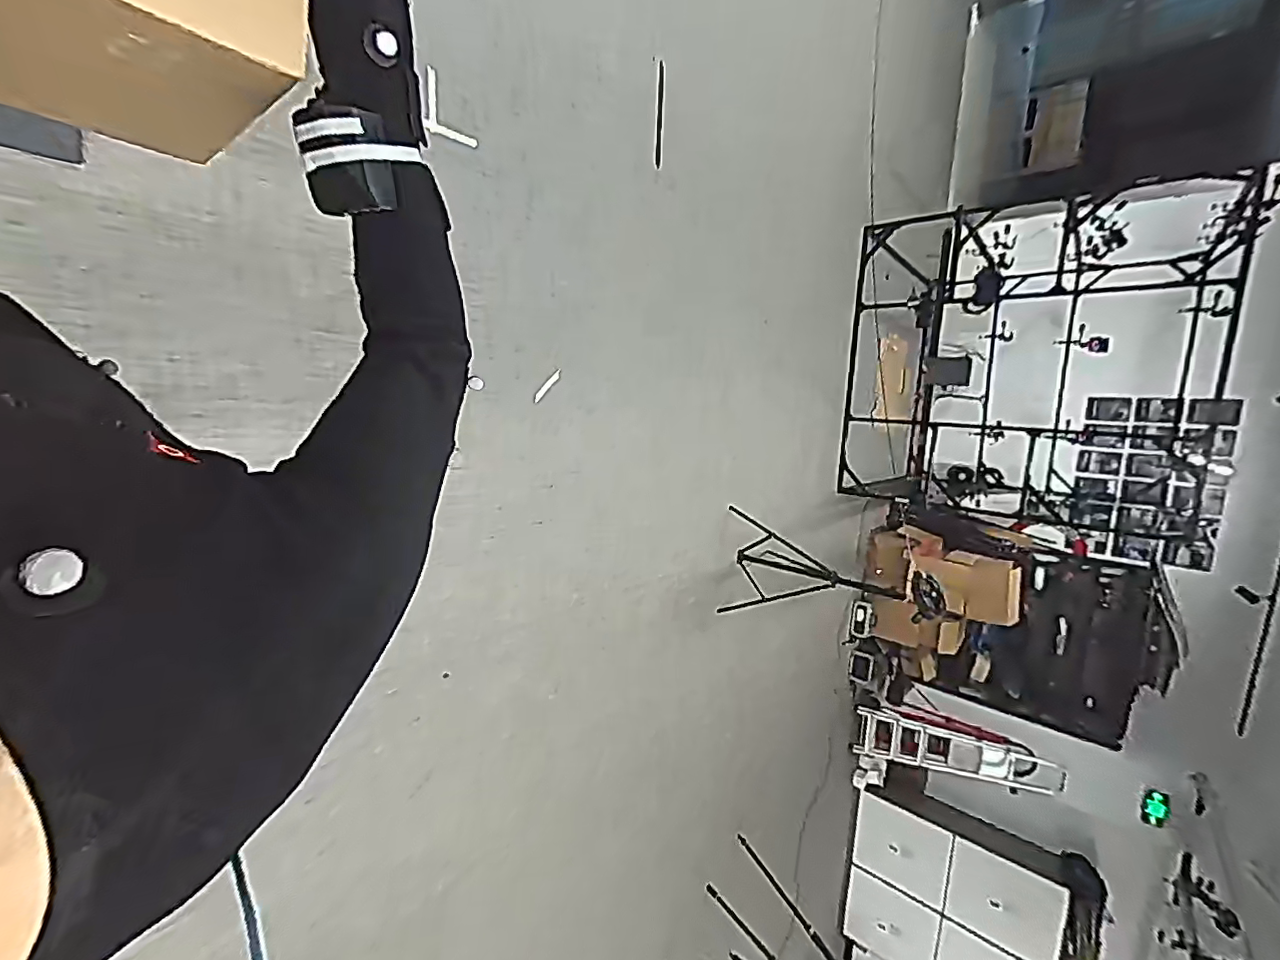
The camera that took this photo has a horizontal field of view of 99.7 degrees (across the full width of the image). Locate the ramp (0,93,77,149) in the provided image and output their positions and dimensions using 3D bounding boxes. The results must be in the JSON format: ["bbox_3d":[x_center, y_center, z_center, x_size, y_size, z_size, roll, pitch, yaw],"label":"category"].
[{"bbox_3d":[-1.113,-1.063,0.700,0.509,0.206,0.991,-10,105,-50],"label":"ramp"}]

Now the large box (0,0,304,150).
[{"bbox_3d":[-0.451,-0.436,0.279,0.408,0.320,0.320,-5,106,-48],"label":"large box"}]
